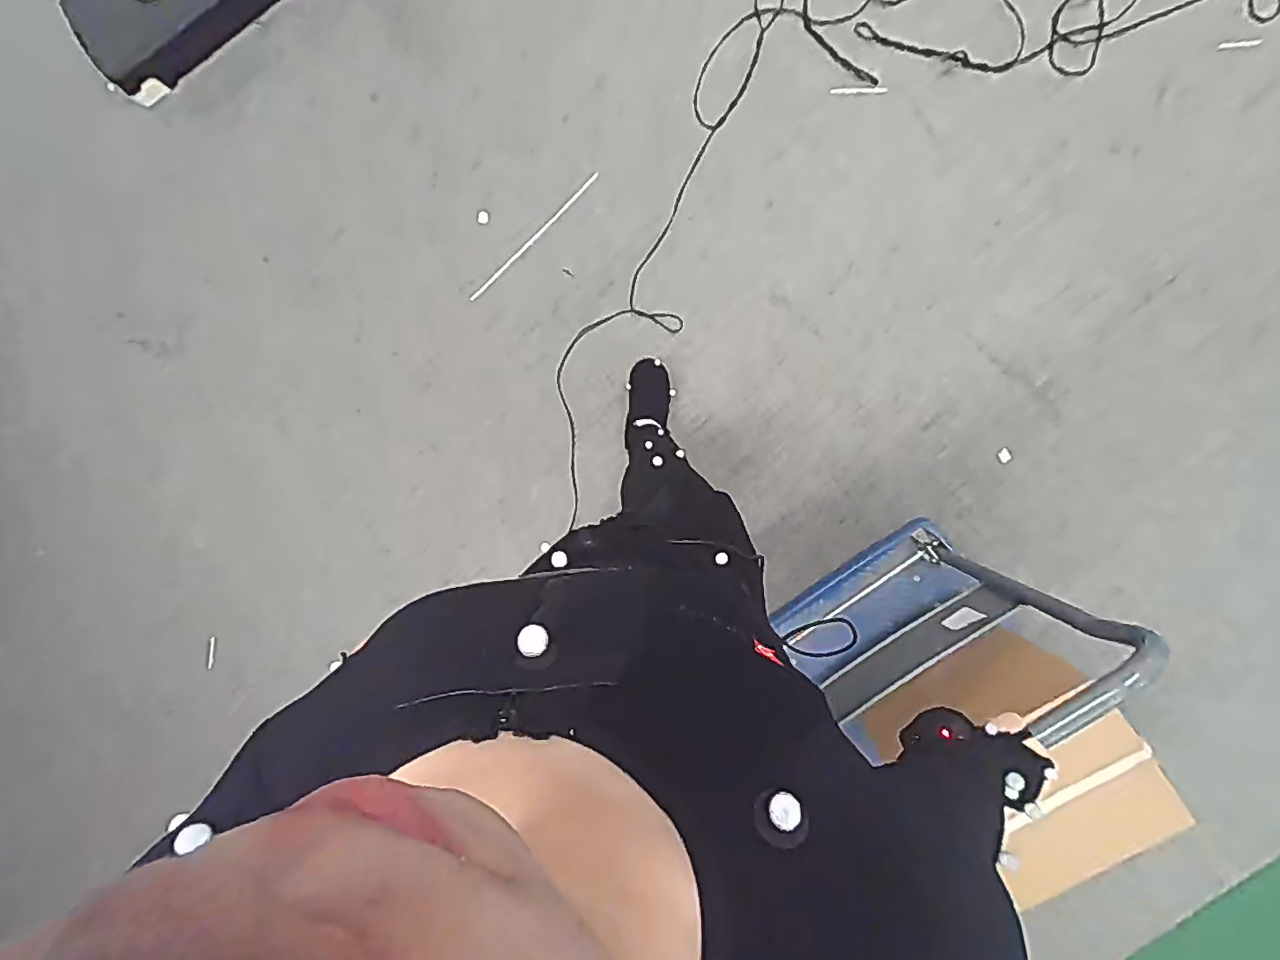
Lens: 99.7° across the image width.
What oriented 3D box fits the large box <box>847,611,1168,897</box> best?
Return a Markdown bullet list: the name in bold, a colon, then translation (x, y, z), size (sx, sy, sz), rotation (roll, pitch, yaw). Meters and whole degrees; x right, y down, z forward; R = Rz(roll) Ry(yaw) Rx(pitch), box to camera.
- **large box**: translation (0.730, 0.547, 1.149), size (0.408, 0.320, 0.320), rotation (-34, 89, 7)
